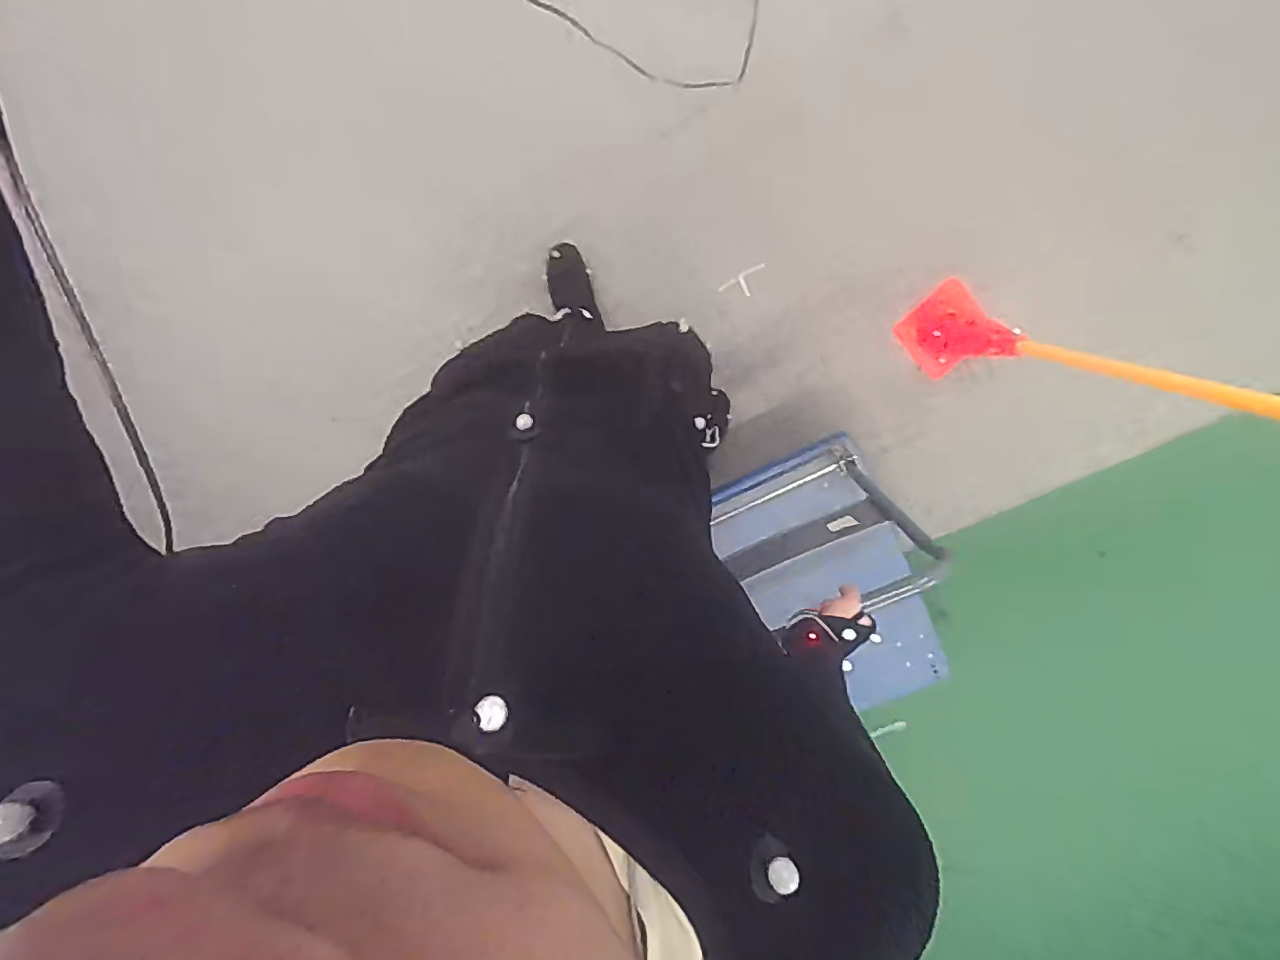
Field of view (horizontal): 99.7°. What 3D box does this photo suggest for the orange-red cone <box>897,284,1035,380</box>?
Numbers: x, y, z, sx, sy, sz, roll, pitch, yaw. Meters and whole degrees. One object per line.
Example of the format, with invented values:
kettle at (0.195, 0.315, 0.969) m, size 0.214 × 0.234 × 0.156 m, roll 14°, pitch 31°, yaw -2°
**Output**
orange-red cone at (0.815, -0.335, 1.295) m, size 0.199 × 0.360 × 0.198 m, roll -41°, pitch 104°, yaw 15°
